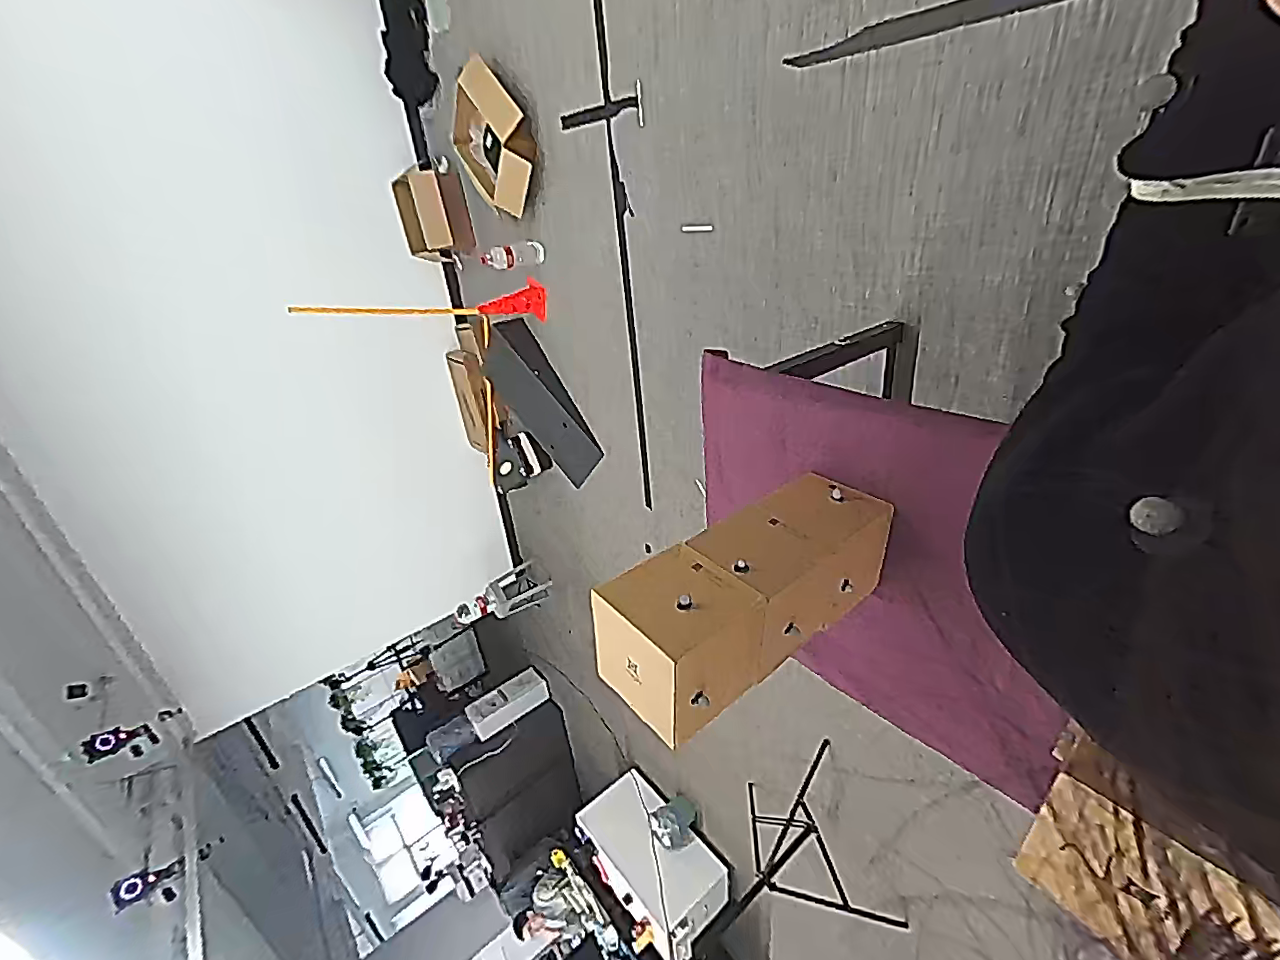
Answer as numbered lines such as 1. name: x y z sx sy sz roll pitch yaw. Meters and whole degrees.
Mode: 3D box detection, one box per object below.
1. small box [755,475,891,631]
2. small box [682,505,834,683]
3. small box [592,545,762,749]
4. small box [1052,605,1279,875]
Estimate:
1. small box: 0.308 0.117 0.935 0.168 0.176 0.179 29 132 43
2. small box: 0.181 0.169 0.846 0.168 0.176 0.179 31 135 42
3. small box: 0.053 0.220 0.756 0.168 0.176 0.179 30 134 42
4. small box: 0.607 0.263 0.593 0.179 0.176 0.168 30 134 43
